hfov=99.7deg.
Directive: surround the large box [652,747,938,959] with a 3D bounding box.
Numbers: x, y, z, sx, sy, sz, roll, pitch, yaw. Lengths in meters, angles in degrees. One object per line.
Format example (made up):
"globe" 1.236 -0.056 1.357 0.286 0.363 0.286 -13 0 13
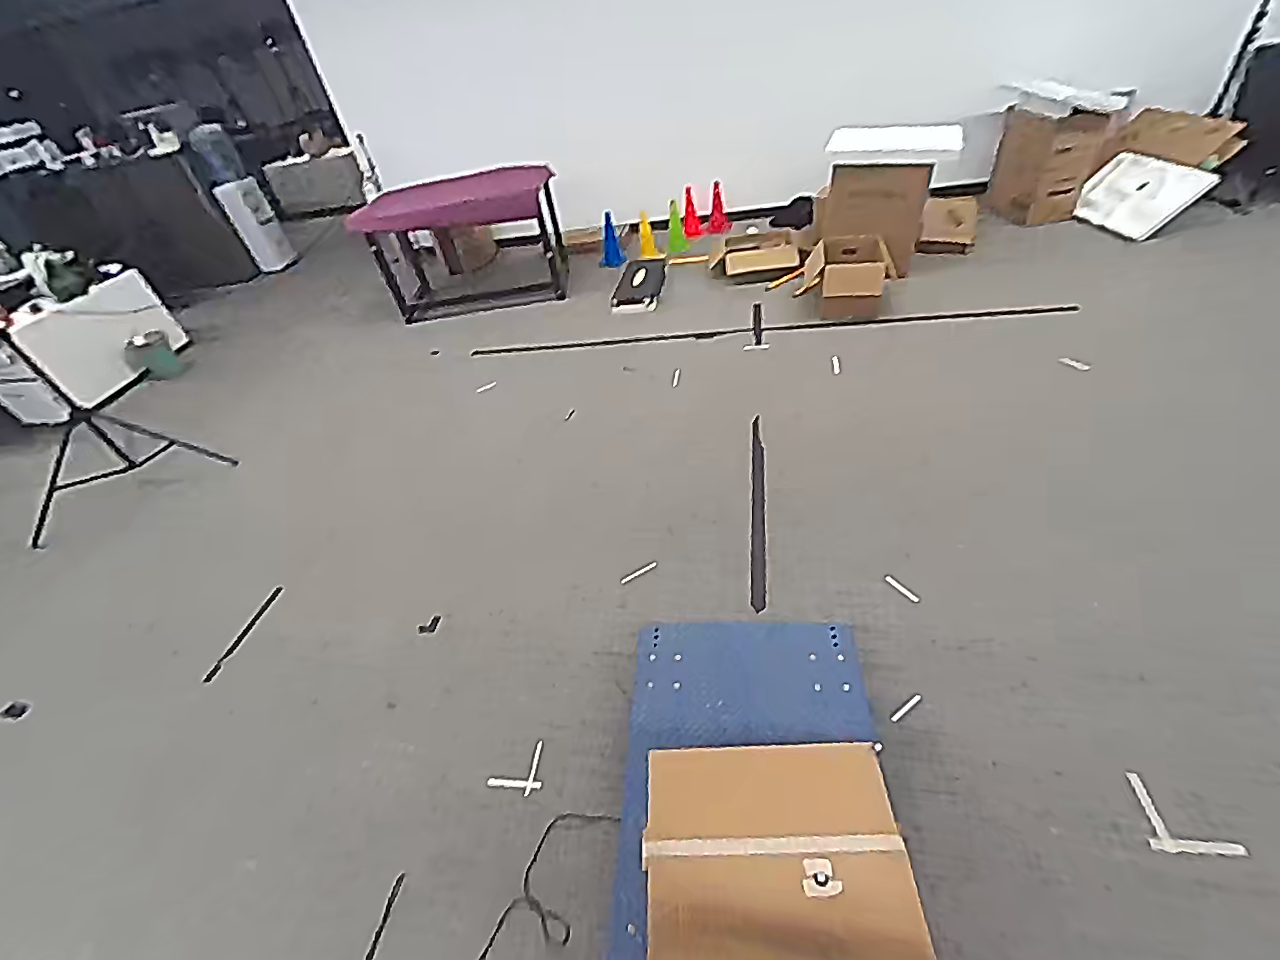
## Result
"large box" 0.236 0.709 0.967 0.408 0.320 0.320 -5 42 5
